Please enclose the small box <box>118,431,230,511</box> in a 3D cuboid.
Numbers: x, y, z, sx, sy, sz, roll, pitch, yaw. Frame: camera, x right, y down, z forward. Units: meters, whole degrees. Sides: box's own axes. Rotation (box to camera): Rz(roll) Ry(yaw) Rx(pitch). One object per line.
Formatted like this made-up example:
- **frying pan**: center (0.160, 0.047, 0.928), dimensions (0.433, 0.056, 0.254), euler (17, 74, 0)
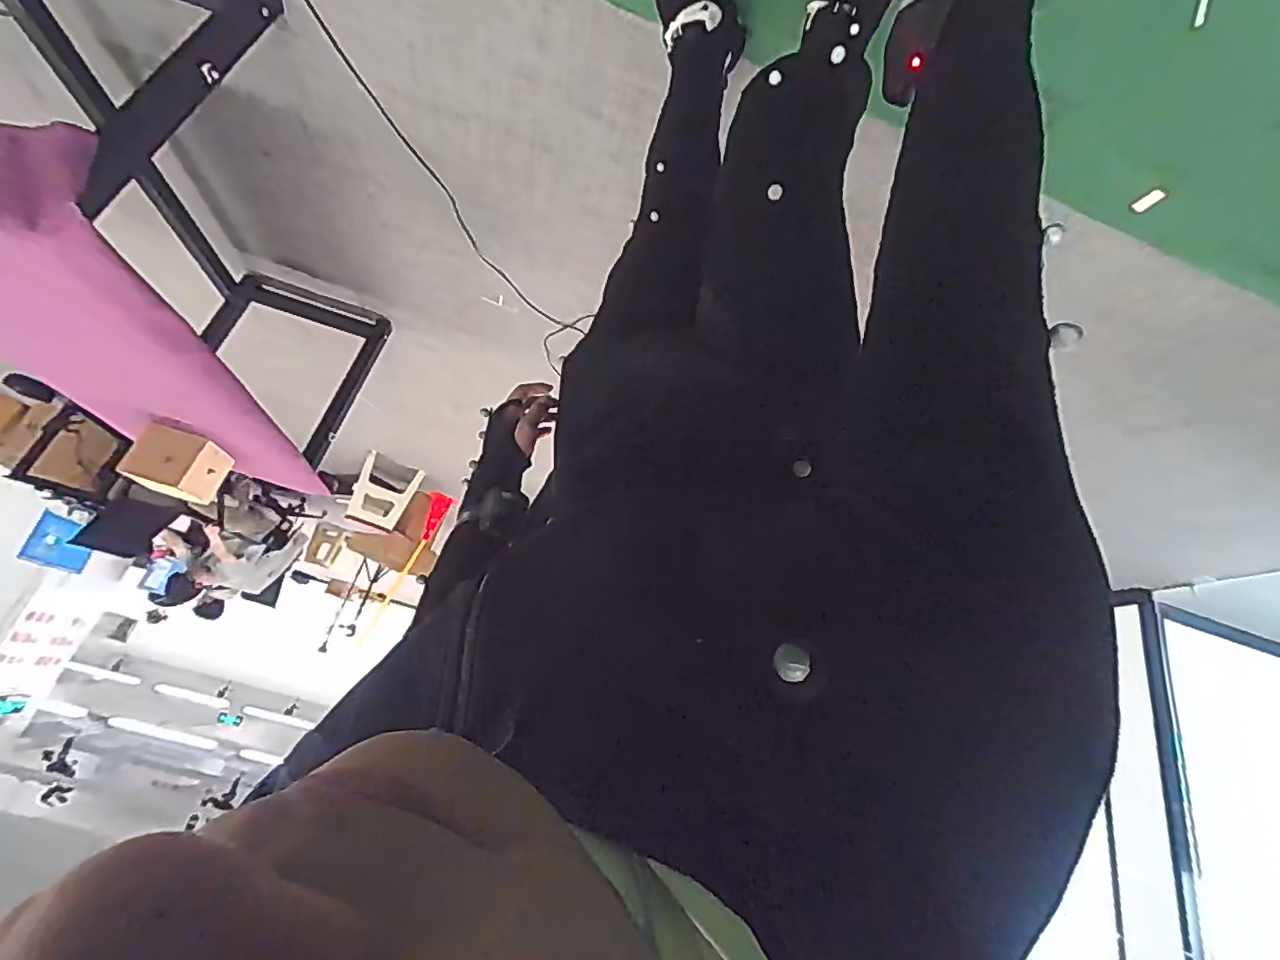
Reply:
- **small box**: center (-1.391, -0.029, 1.635), dimensions (0.179, 0.176, 0.168), euler (17, 155, -5)
